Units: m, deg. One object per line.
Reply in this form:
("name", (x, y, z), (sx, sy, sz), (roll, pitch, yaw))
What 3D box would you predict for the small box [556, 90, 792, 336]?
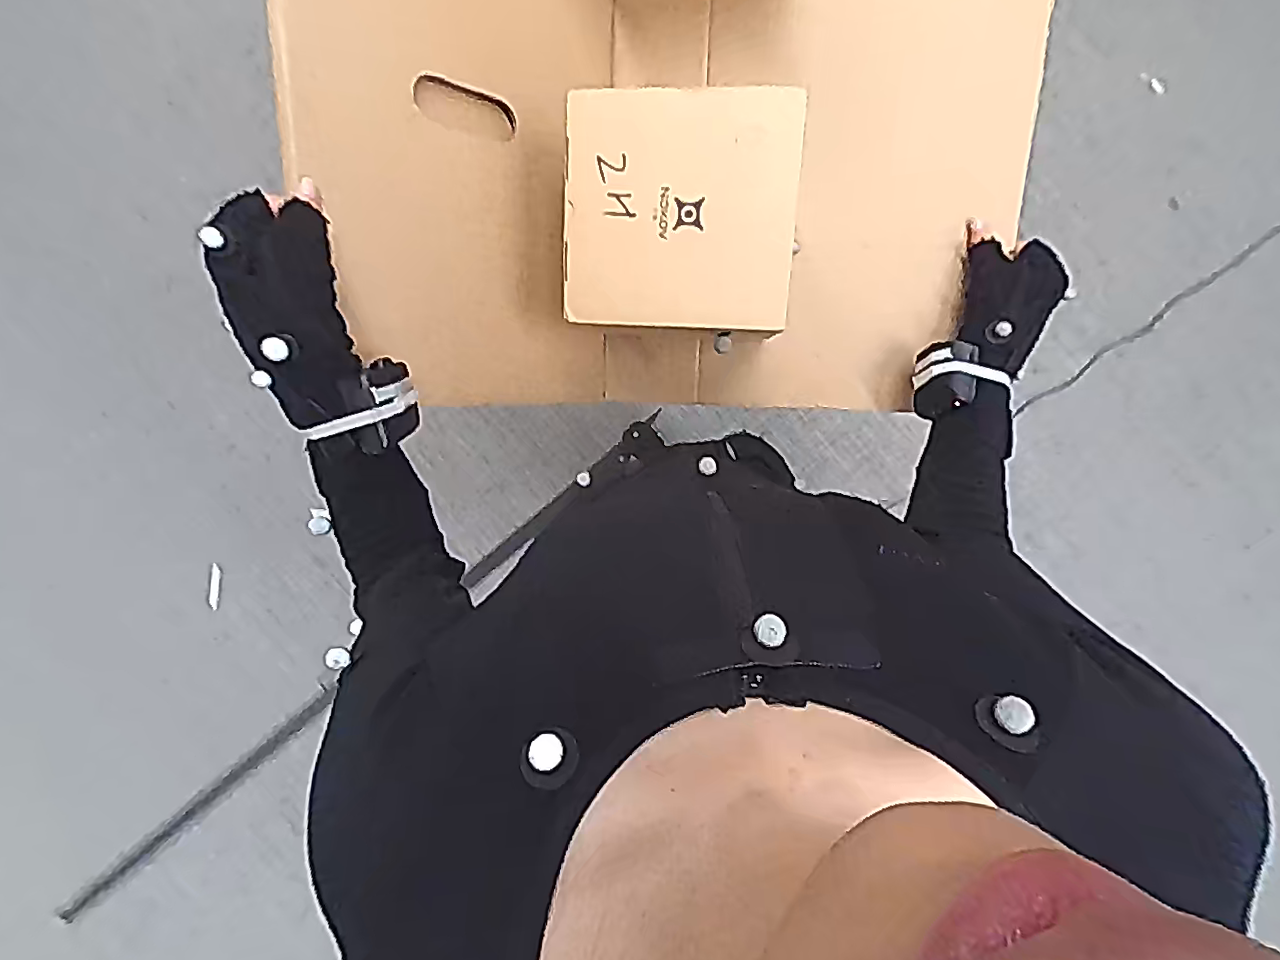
("small box", (0.031, -0.221, 0.489), (0.179, 0.176, 0.168), (3, 102, 8))
